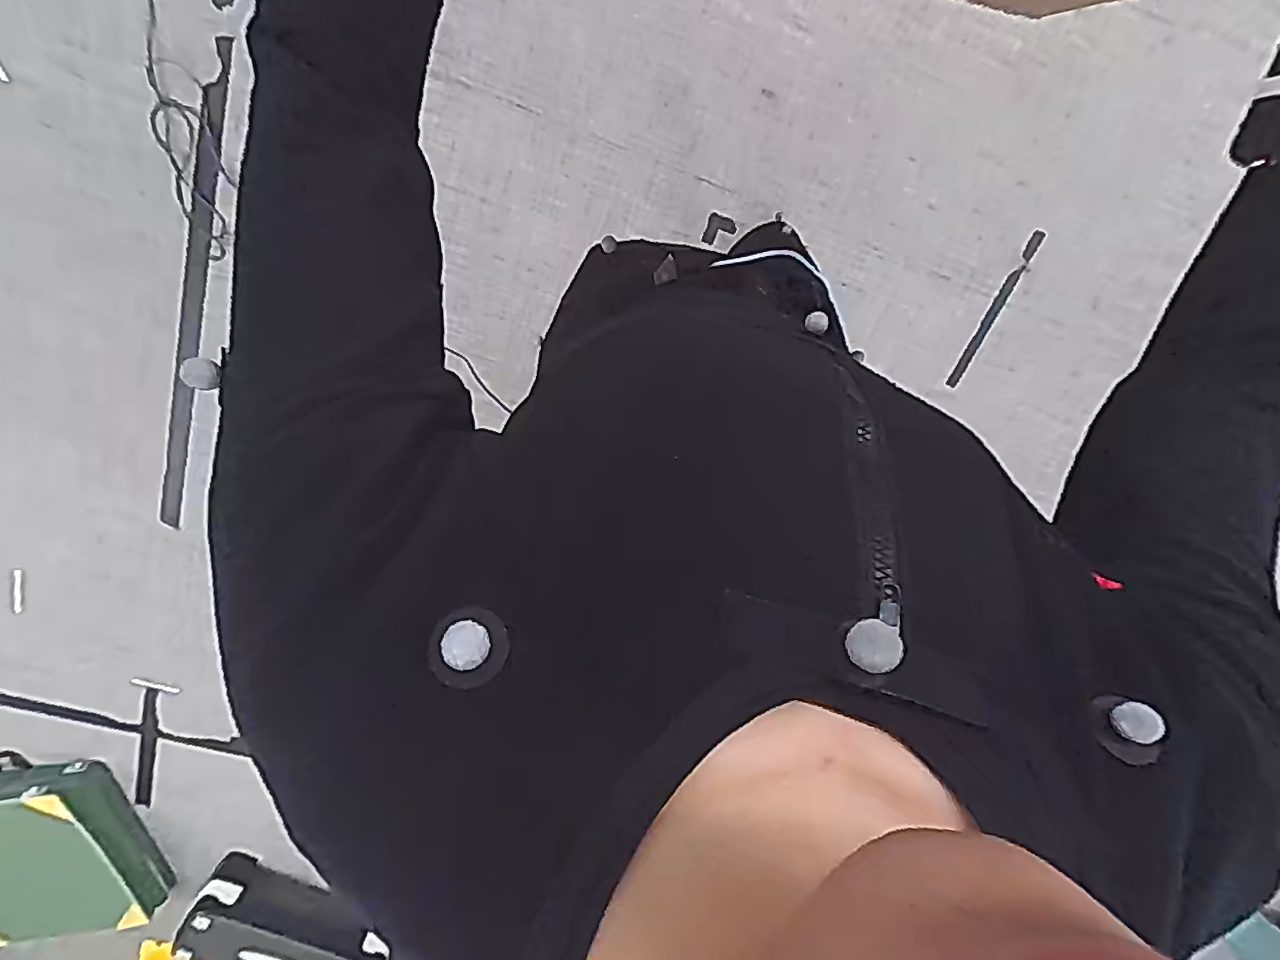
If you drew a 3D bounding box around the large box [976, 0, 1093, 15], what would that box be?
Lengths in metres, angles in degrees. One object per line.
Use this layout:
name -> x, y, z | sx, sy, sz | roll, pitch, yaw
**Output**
large box -> 0.205, -0.507, 0.285 | 0.408, 0.320, 0.320 | 11, 126, -6
